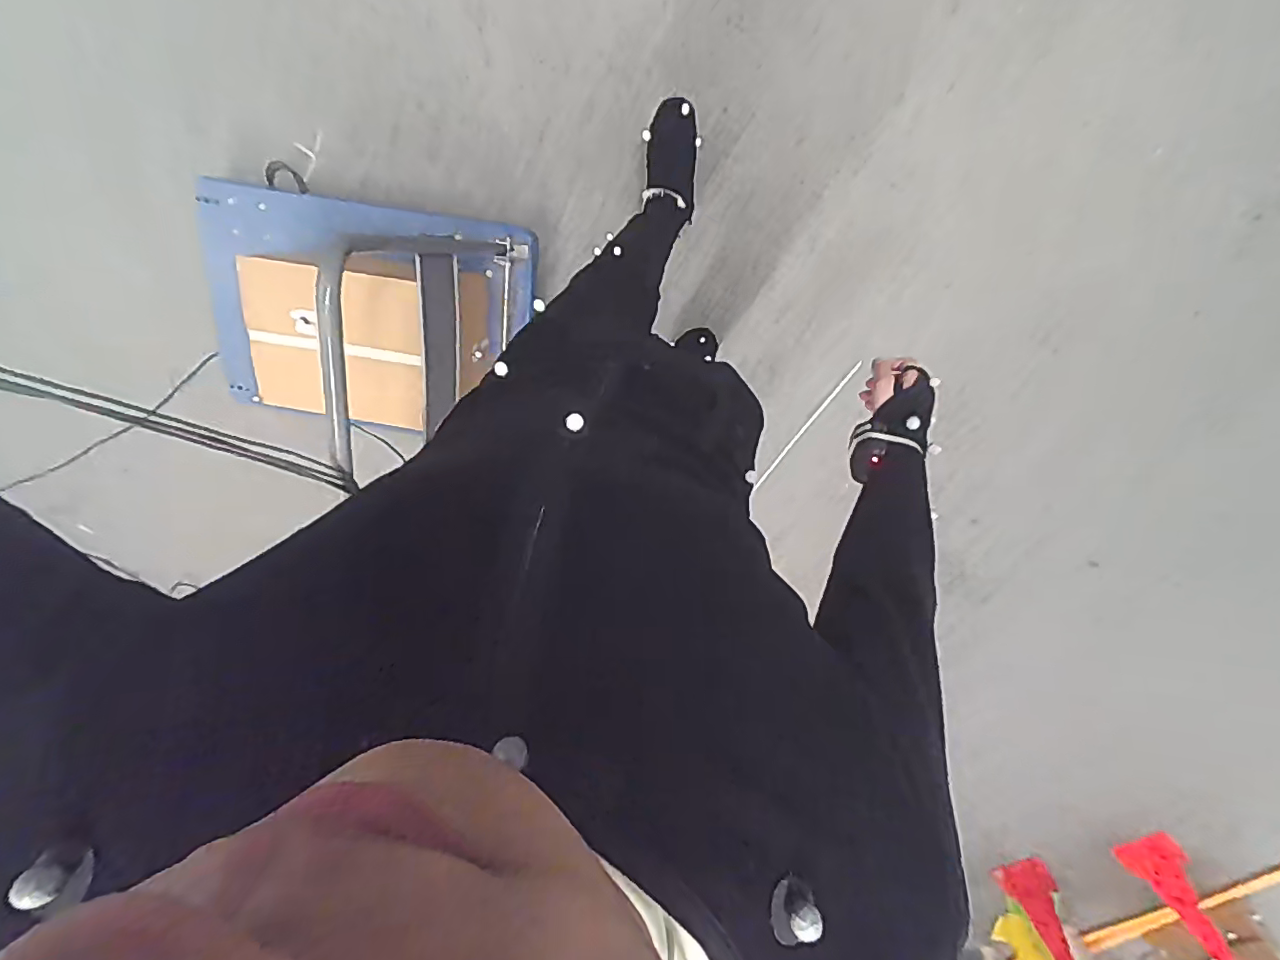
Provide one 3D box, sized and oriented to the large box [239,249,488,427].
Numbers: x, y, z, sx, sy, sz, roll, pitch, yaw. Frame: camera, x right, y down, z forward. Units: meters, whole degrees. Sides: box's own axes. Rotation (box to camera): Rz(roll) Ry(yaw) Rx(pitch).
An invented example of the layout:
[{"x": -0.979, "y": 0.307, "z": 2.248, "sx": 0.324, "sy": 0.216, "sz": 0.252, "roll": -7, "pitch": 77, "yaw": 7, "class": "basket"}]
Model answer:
[{"x": -0.601, "y": -0.344, "z": 1.257, "sx": 0.408, "sy": 0.320, "sz": 0.320, "roll": 11, "pitch": 114, "yaw": 4, "class": "large box"}]
